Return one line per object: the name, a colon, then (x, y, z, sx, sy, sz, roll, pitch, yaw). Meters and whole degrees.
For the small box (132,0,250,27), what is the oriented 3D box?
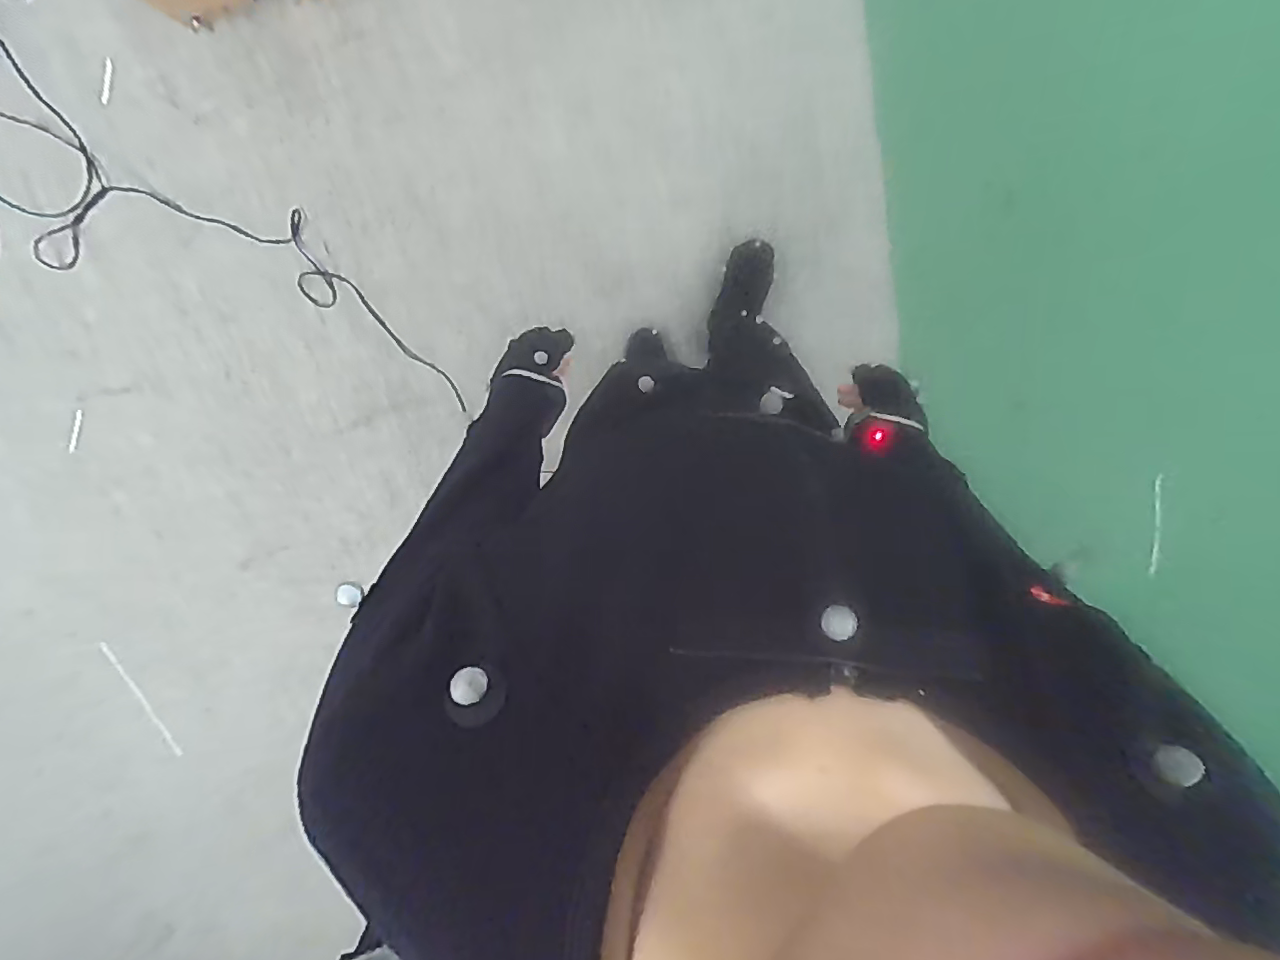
small box: (-0.938, -1.054, 1.081, 0.168, 0.176, 0.179, -17, 106, 6)
